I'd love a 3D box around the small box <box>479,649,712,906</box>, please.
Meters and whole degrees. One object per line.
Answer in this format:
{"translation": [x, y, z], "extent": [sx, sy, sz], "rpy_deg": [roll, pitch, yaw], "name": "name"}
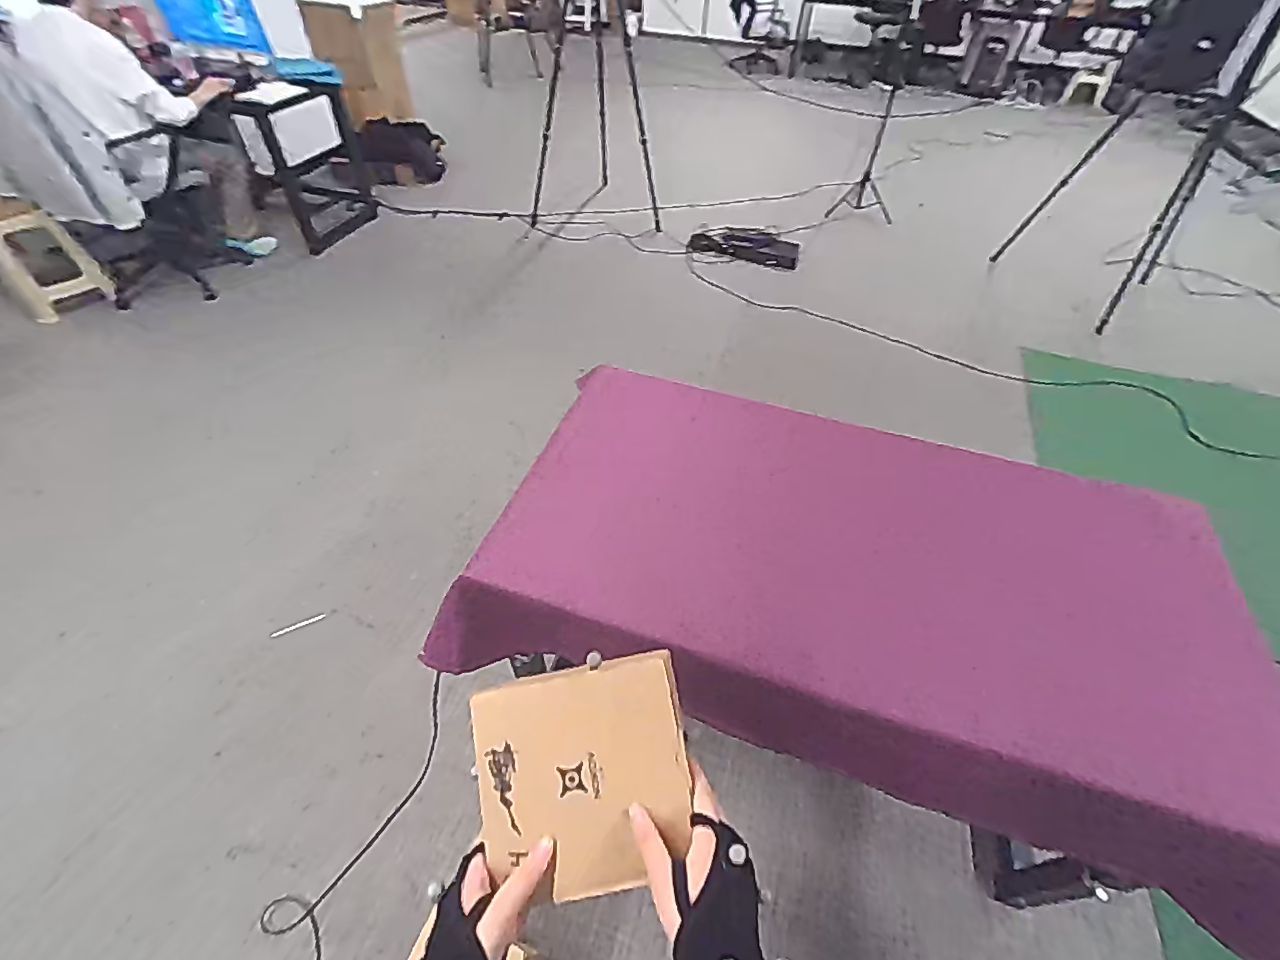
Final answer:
{"translation": [-0.038, 0.264, 0.524], "extent": [0.179, 0.176, 0.168], "rpy_deg": [-11, 74, 0], "name": "small box"}
